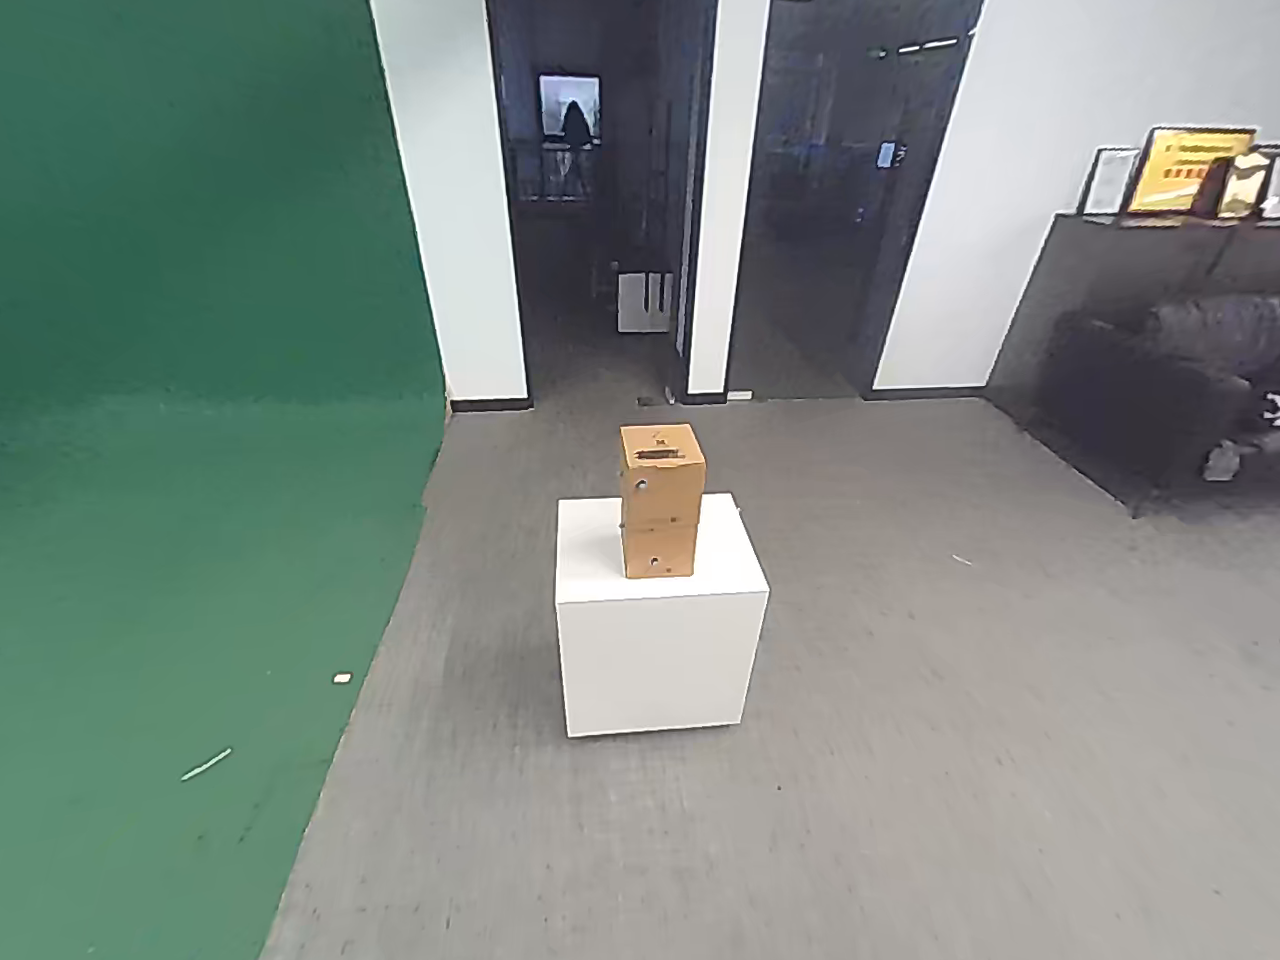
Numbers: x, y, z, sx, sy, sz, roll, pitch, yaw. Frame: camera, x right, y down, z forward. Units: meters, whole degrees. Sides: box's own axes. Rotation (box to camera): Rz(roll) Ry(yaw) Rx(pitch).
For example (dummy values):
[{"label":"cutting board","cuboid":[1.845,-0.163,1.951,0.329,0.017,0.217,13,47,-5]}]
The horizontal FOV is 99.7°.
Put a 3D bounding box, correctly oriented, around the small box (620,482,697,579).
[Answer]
[{"label":"small box","cuboid":[0.038,0.122,1.324,0.168,0.176,0.179,-2,34,-6]}]
